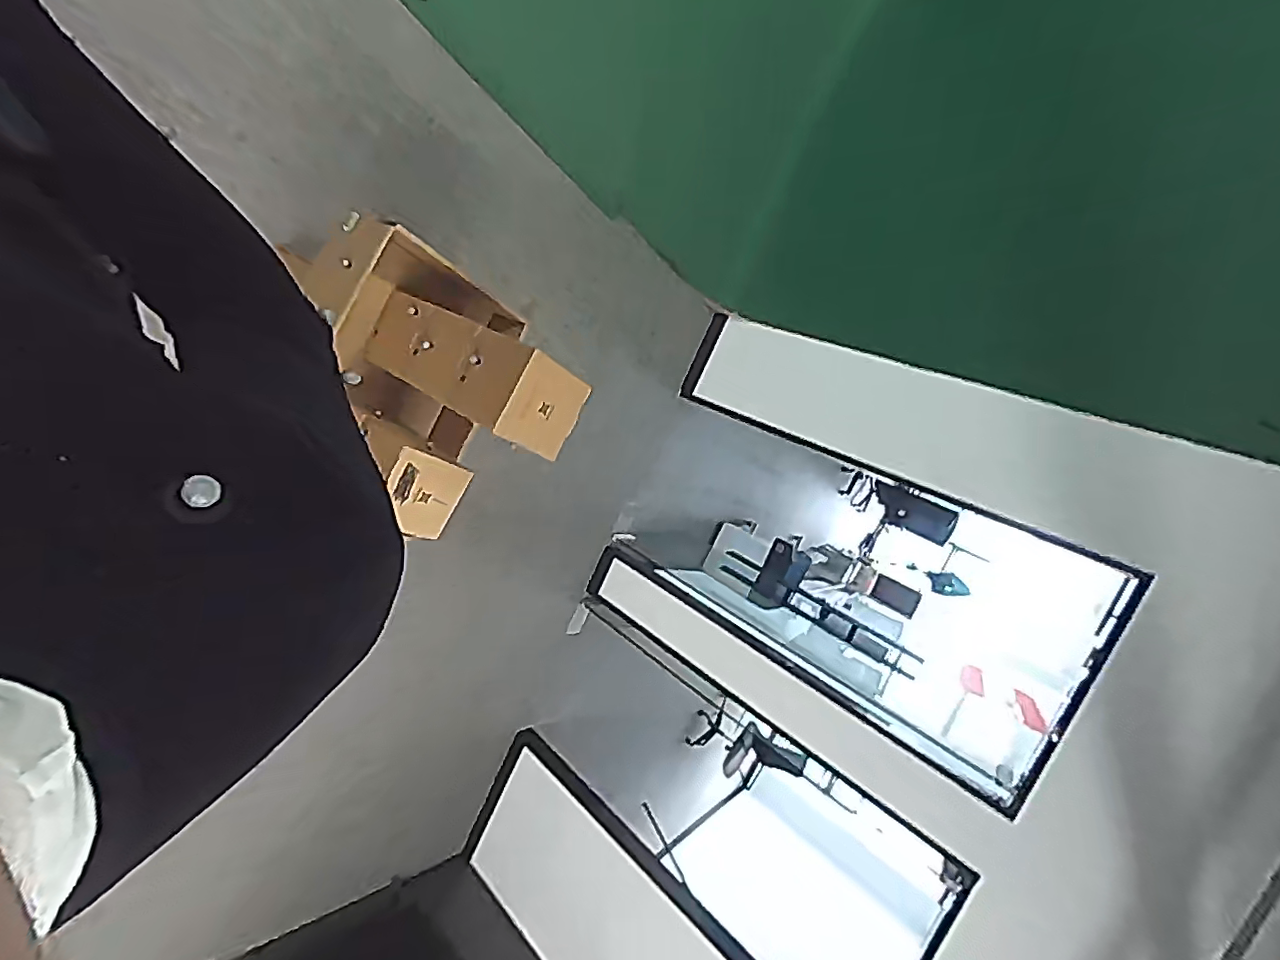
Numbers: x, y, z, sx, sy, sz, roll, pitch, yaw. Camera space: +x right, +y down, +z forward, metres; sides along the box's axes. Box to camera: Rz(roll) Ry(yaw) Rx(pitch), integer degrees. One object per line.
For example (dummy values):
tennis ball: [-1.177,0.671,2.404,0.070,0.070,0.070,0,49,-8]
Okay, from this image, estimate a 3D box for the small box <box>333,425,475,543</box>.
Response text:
small box: [-0.482,0.006,1.100,0.168,0.176,0.179,-61,147,-1]

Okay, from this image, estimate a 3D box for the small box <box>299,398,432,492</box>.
small box: [-0.603,-0.060,1.191,0.179,0.176,0.168,29,89,-56]

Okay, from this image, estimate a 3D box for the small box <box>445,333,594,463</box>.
small box: [-0.227,-0.156,1.025,0.179,0.176,0.168,29,89,-57]

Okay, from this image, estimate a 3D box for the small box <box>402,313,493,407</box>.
small box: [-0.346,-0.222,1.114,0.179,0.176,0.168,27,91,-57]
